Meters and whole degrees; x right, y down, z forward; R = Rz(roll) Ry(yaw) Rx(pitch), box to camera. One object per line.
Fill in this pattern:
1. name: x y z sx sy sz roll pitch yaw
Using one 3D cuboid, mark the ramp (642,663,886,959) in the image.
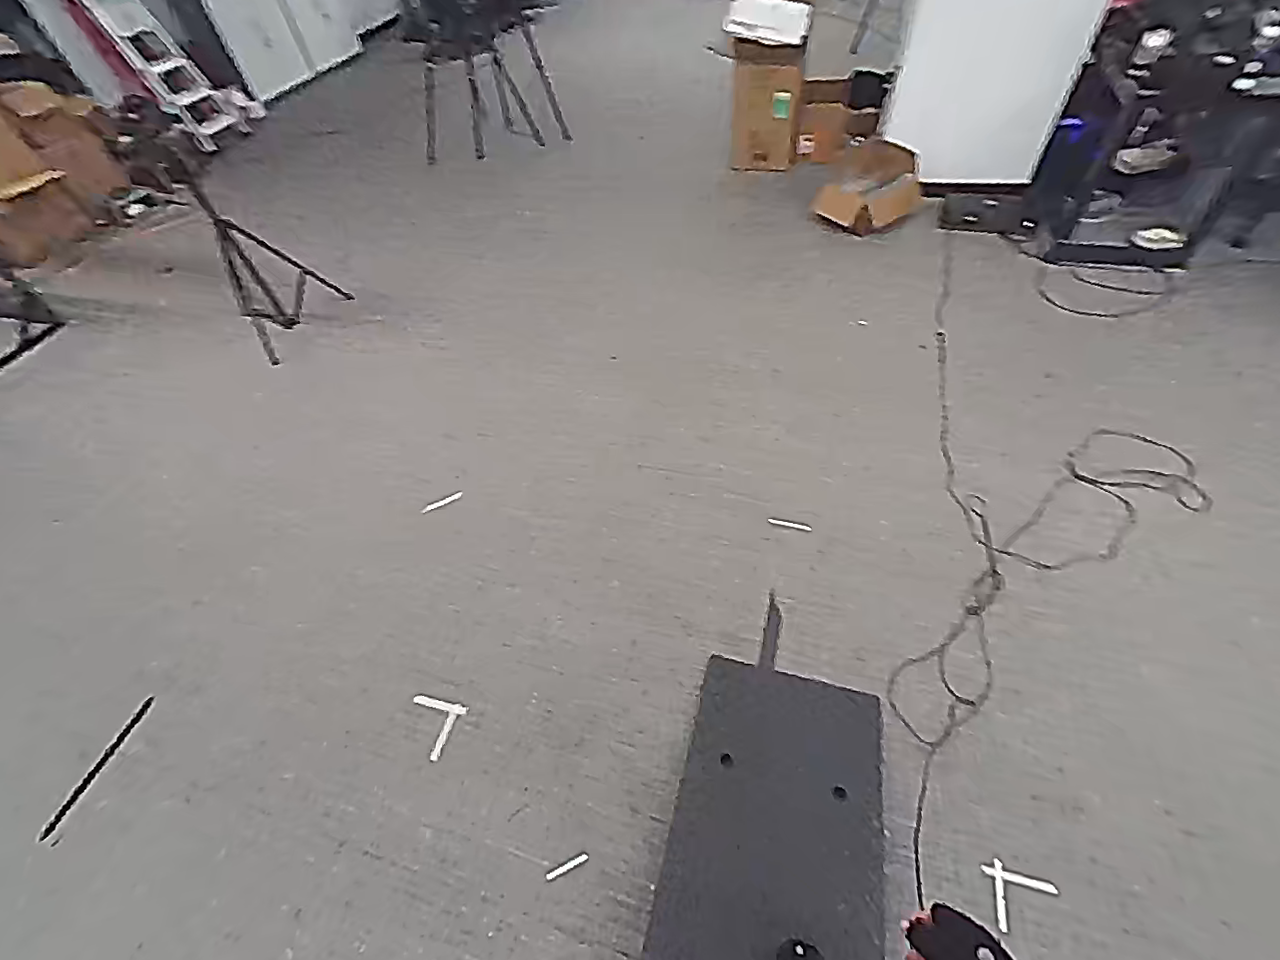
1. ramp: 0.297 0.909 1.234 0.509 0.206 0.991 7 52 14
